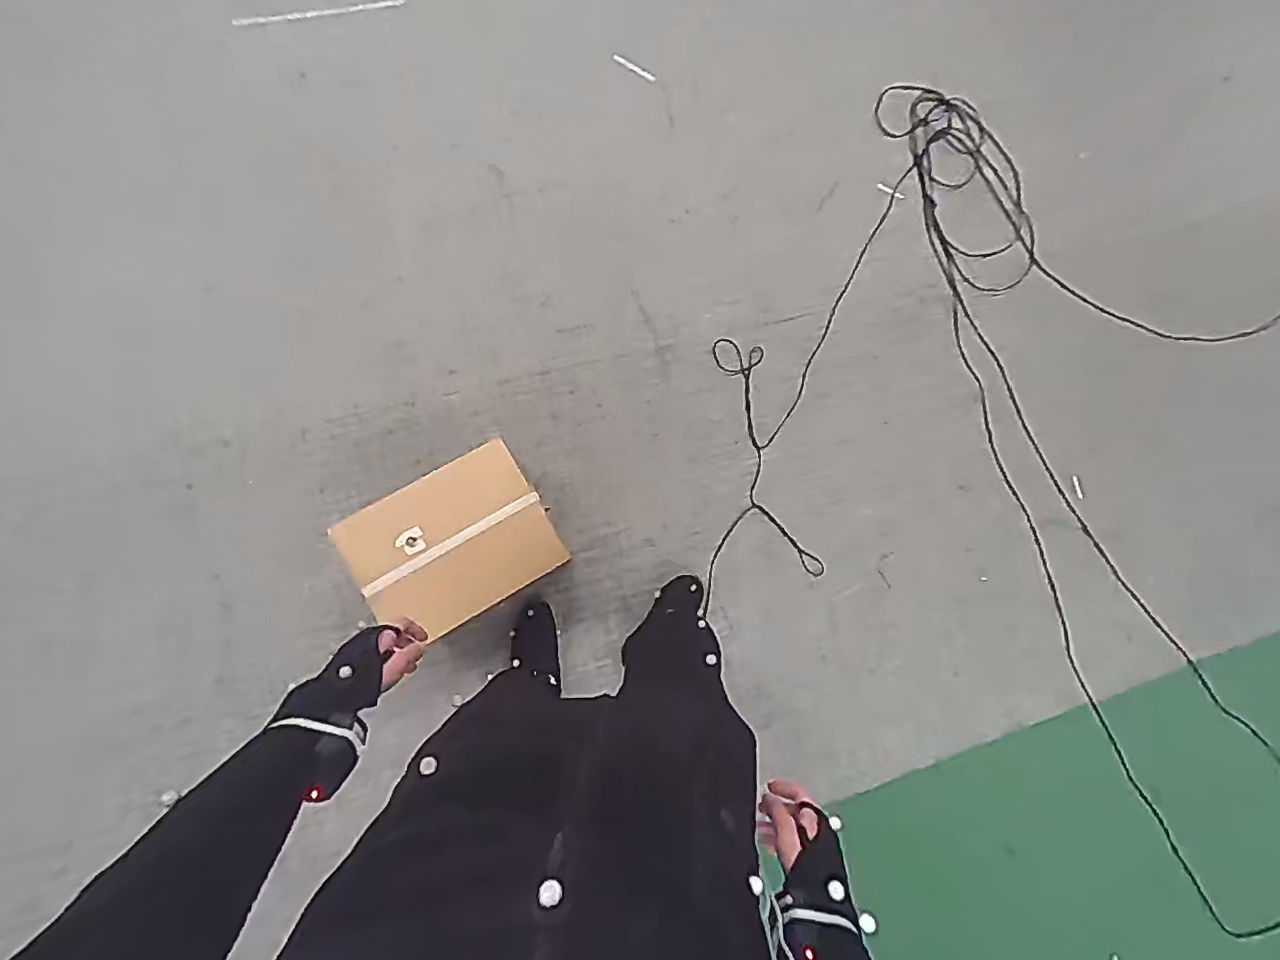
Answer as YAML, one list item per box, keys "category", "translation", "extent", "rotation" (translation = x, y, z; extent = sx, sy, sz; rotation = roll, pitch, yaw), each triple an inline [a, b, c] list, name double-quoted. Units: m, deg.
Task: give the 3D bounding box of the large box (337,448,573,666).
- category: "large box"
  translation: [-0.408, 0.172, 1.299]
  extent: [0.408, 0.320, 0.320]
  rotation: [-30, 86, -9]
